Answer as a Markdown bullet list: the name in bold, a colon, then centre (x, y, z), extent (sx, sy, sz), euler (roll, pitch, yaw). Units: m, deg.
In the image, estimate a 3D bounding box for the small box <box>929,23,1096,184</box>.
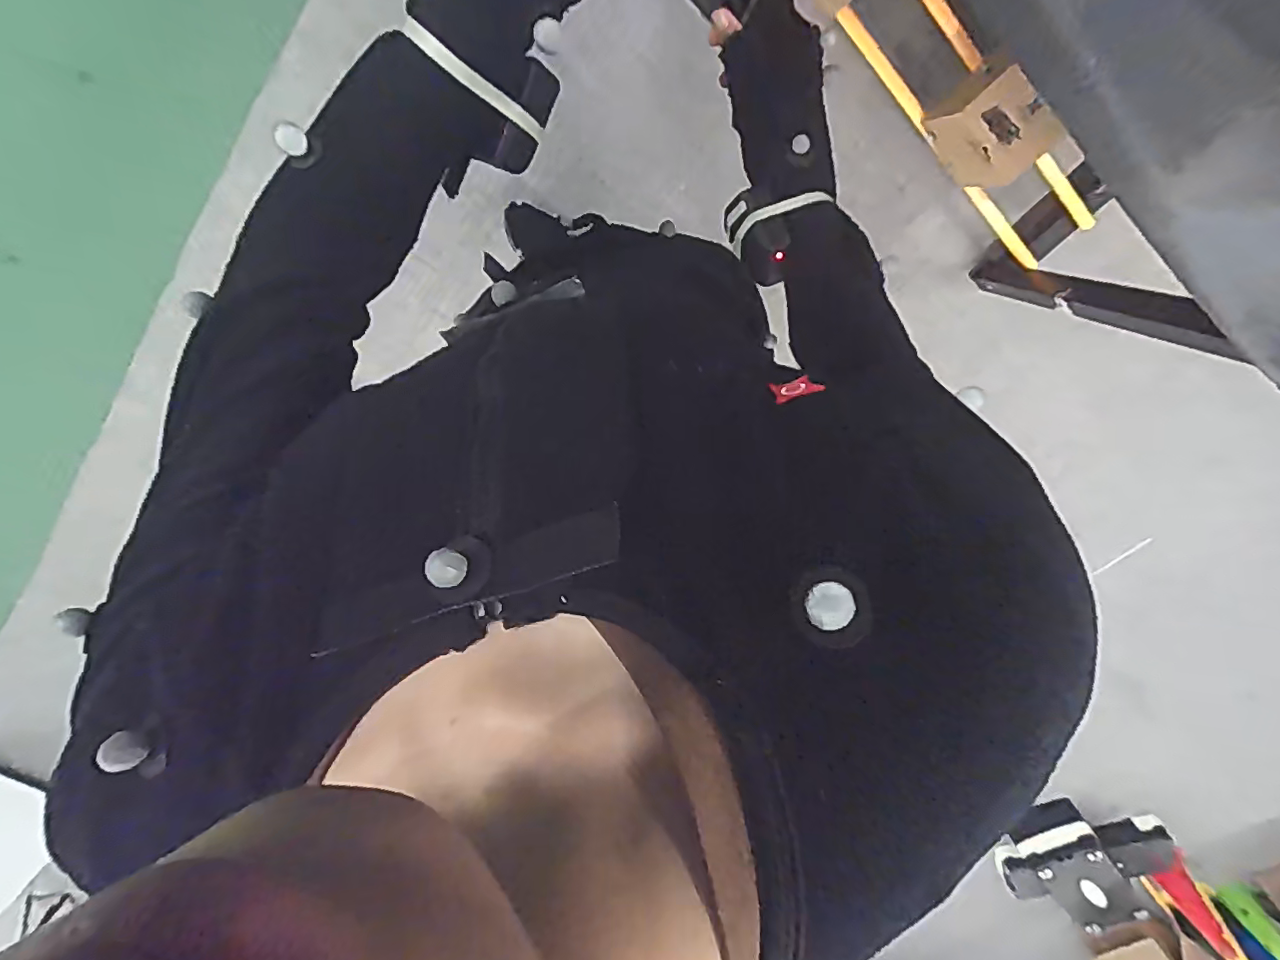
- **small box**: centre (0.675, -0.682, 1.008), extent (0.168, 0.176, 0.179), euler (42, 111, -19)
